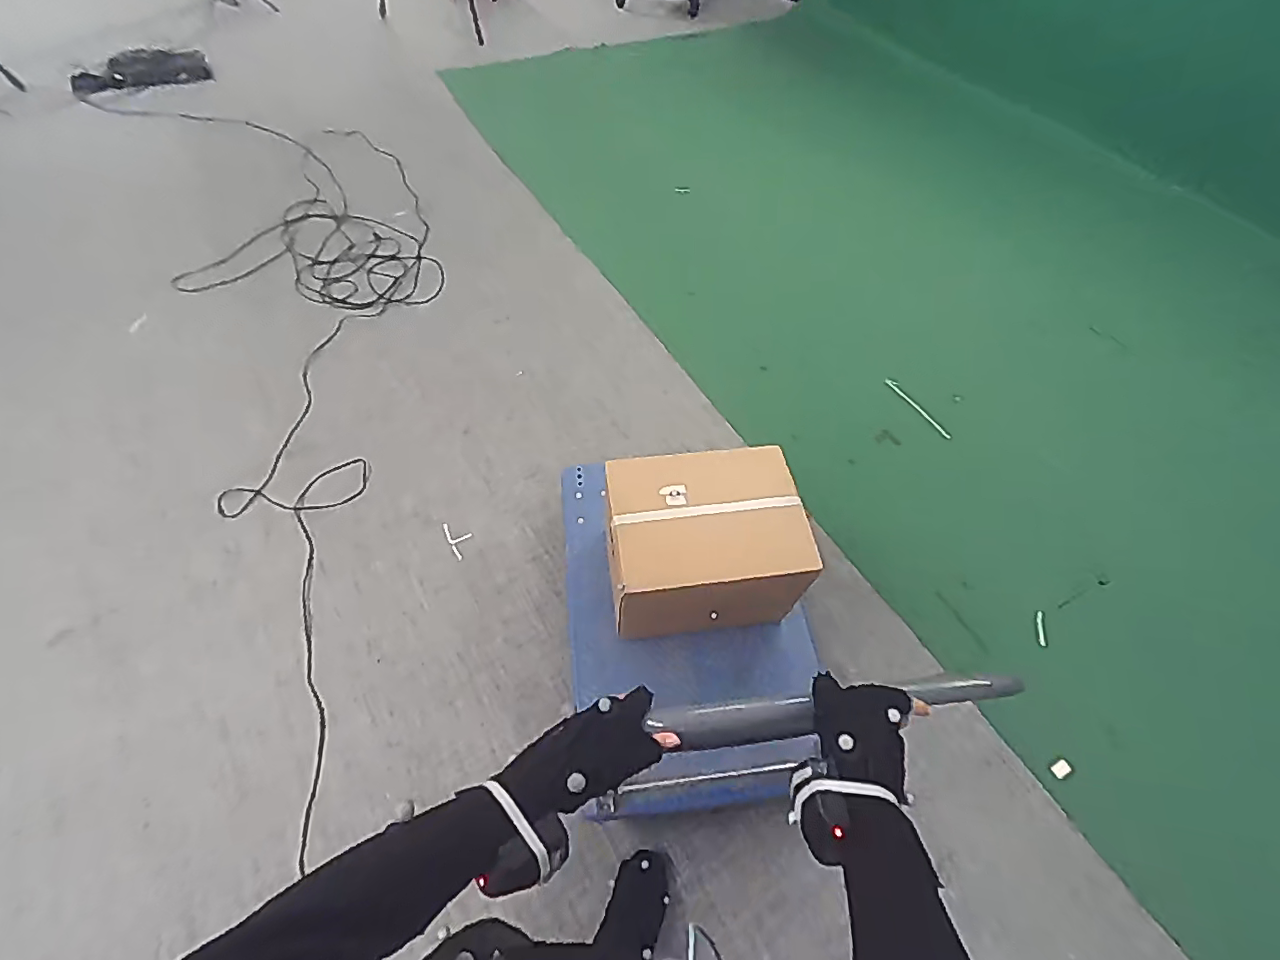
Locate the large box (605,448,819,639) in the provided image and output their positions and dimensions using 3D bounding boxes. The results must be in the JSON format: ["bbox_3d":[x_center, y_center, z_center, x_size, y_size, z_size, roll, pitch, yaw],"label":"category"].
[{"bbox_3d":[0.138,0.155,1.264,0.408,0.320,0.320,-6,57,-7],"label":"large box"}]
